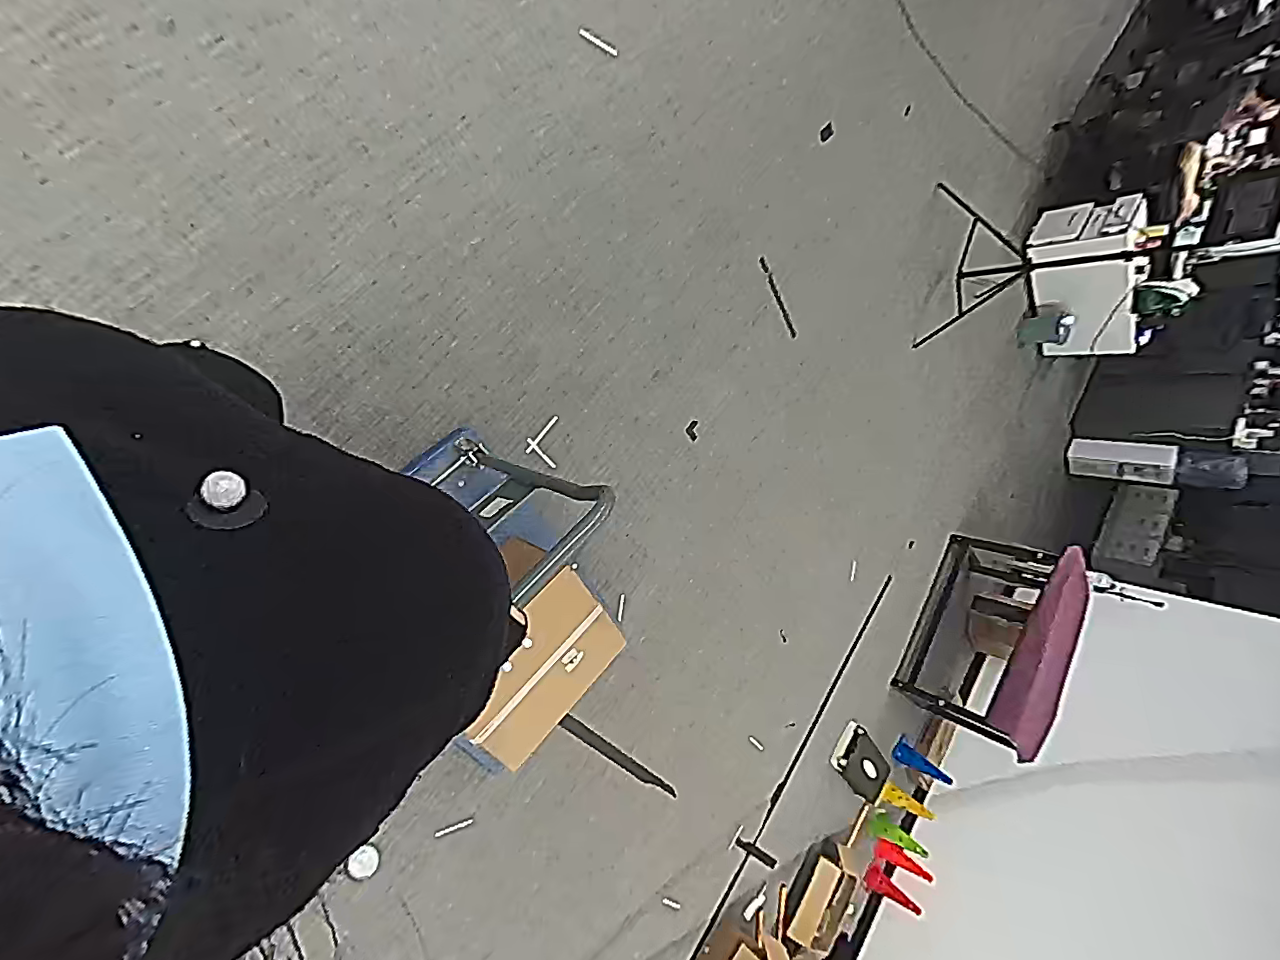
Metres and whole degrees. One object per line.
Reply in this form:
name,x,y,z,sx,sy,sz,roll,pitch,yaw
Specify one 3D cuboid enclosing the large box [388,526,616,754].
large box,-0.348,0.385,1.383,0.408,0.320,0.320,-46,125,-25
